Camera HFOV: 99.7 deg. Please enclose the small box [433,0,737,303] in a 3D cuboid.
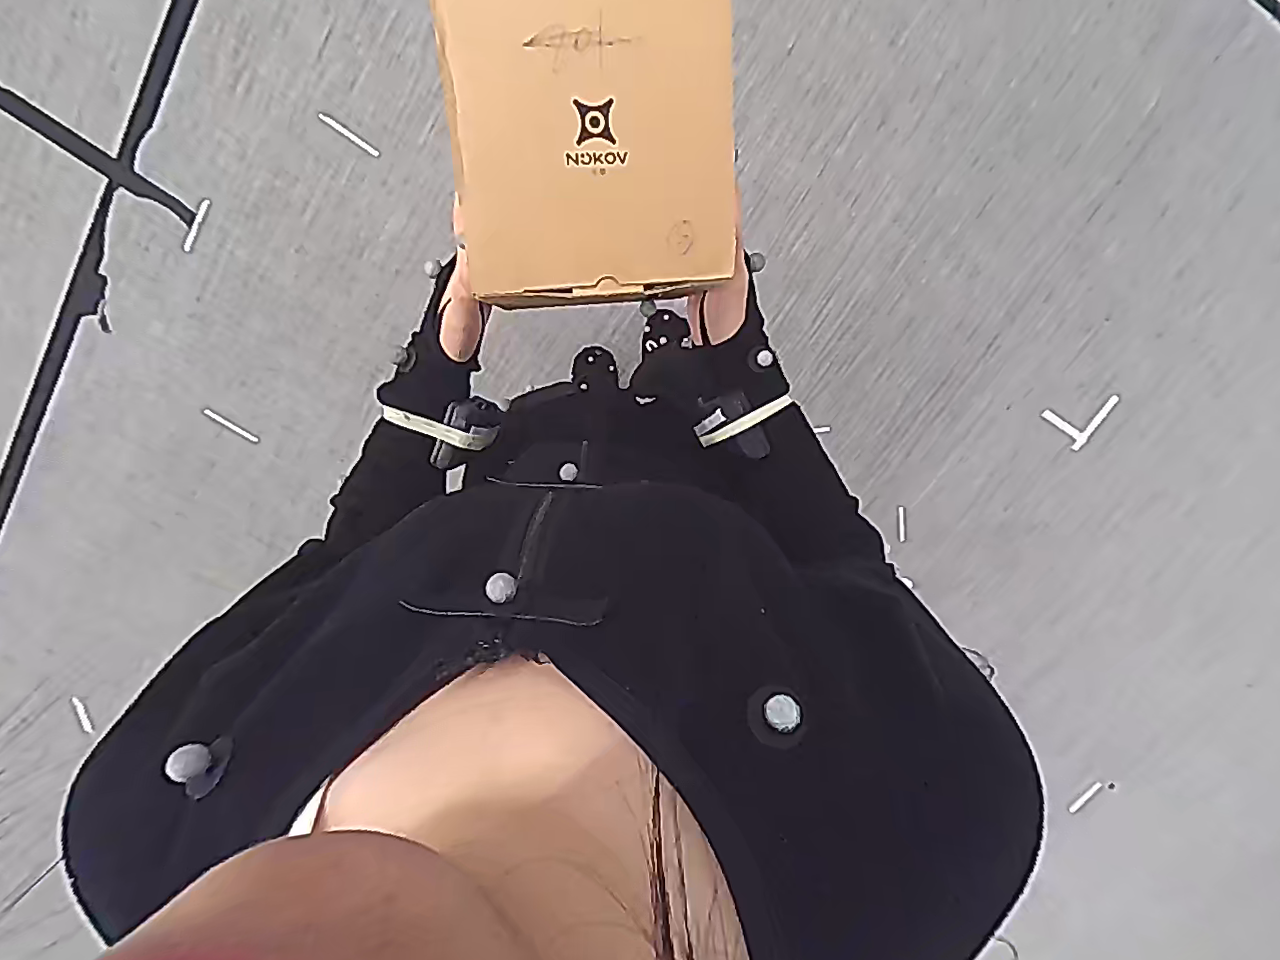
[{"bbox_3d":[-0.035,-0.221,0.384,0.168,0.176,0.179,-6,105,-7],"label":"small box"}]
